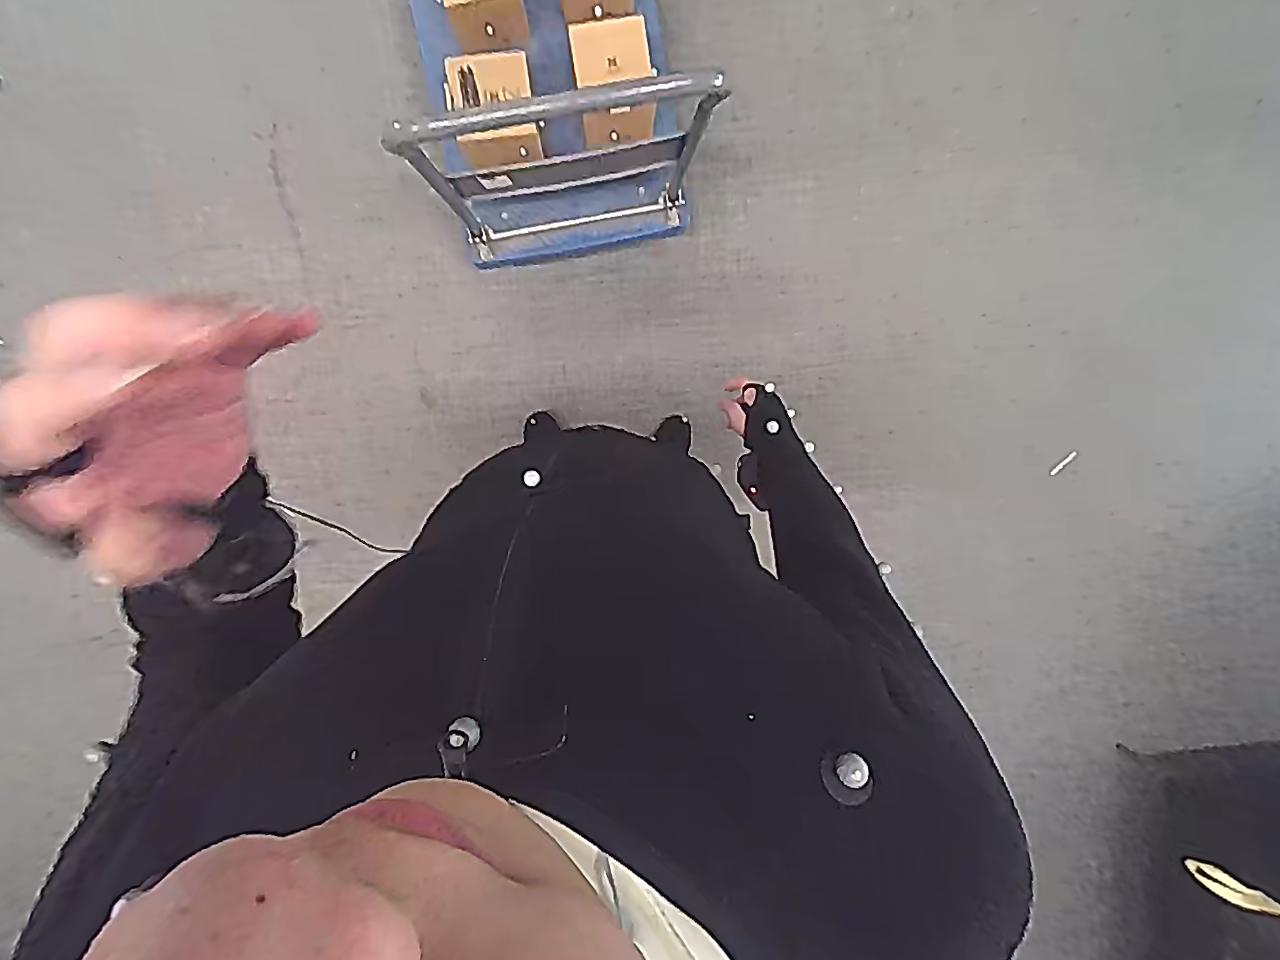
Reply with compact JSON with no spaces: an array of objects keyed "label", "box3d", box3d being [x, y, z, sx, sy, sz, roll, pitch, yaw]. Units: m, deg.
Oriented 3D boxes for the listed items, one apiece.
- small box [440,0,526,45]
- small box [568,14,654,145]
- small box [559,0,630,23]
[{"label":"small box","box3d":[-0.360,-1.105,1.192,0.168,0.176,0.179,-14,99,-1]},{"label":"small box","box3d":[-0.067,-0.908,1.238,0.168,0.176,0.179,-10,100,-1]},{"label":"small box","box3d":[-0.117,-1.170,1.193,0.168,0.176,0.179,-14,100,0]}]
